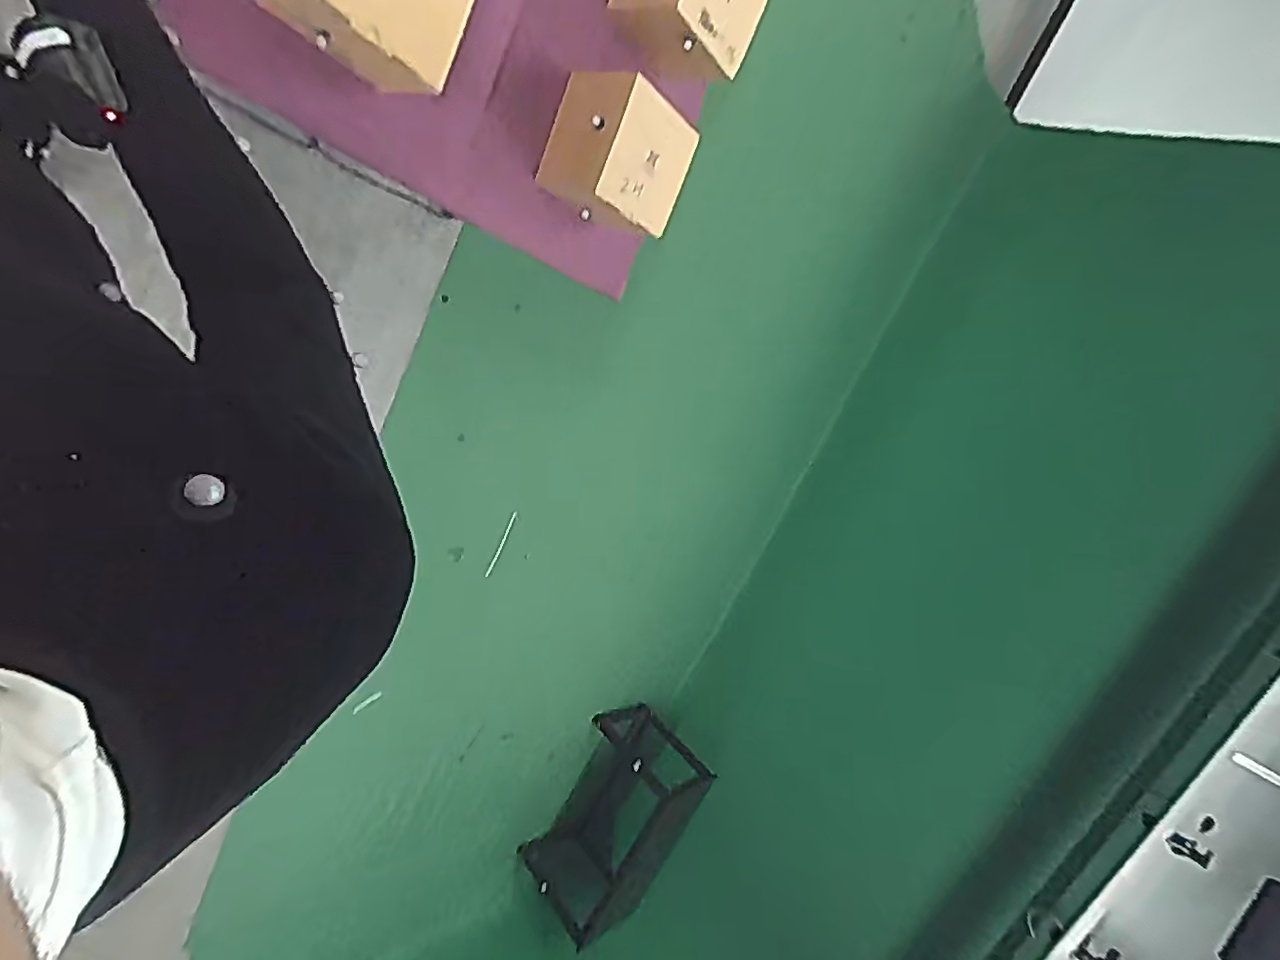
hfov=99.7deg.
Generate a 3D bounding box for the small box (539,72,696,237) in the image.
[{"bbox_3d":[-0.043,-0.540,0.906,0.168,0.176,0.179,9,109,-50],"label":"small box"}]

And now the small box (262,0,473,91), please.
[{"bbox_3d":[-0.299,-0.571,0.592,0.168,0.176,0.179,12,107,-53],"label":"small box"}]

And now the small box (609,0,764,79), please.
[{"bbox_3d":[0.078,-0.782,0.860,0.168,0.176,0.179,8,111,-50],"label":"small box"}]
